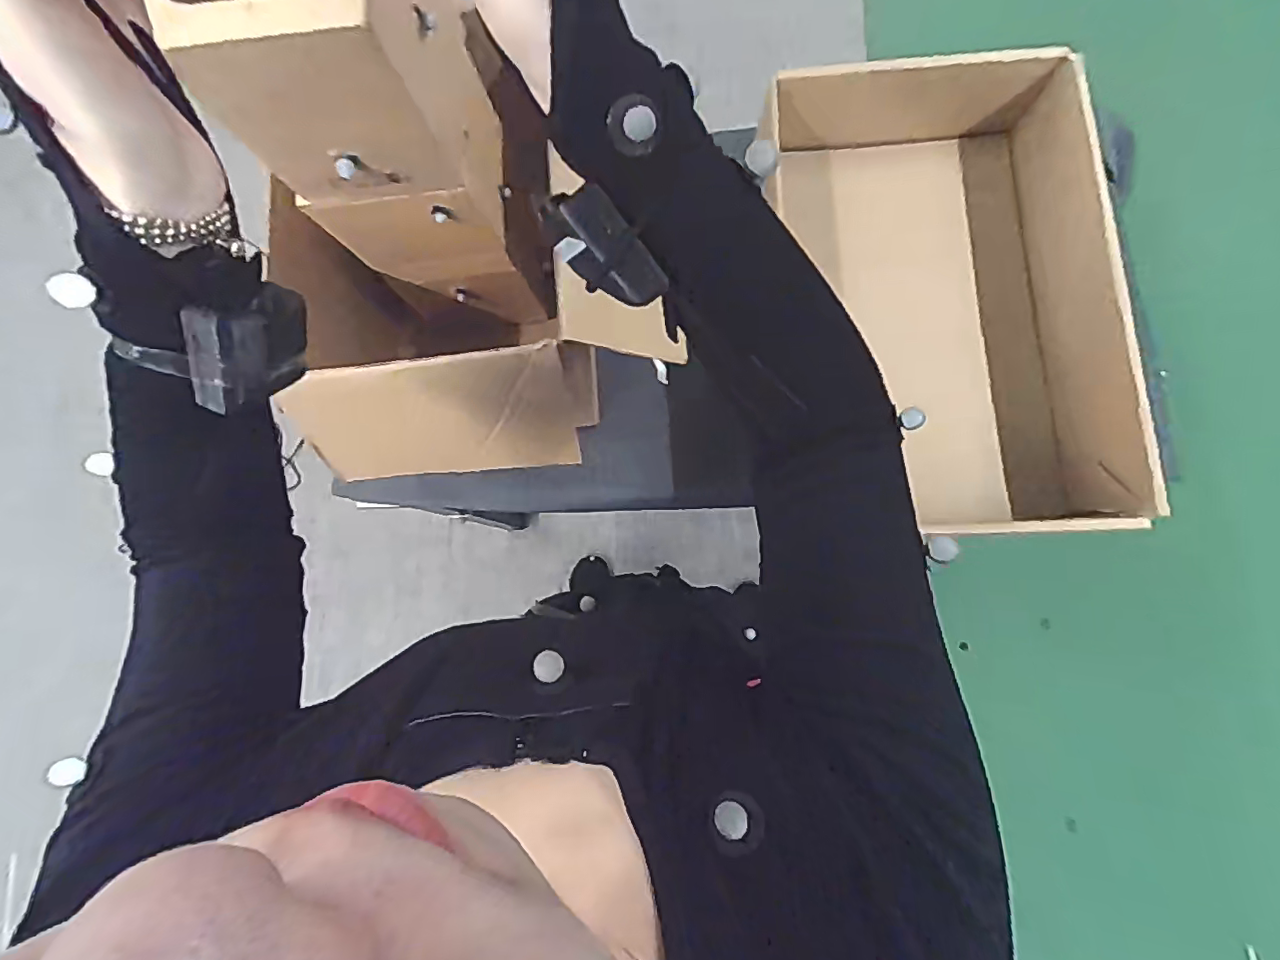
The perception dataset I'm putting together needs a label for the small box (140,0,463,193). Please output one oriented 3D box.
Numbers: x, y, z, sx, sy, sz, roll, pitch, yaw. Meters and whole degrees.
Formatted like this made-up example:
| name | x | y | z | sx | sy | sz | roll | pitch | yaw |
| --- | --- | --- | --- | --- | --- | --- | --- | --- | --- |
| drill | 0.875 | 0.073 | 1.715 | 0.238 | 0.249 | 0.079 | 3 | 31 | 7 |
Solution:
| name | x | y | z | sx | sy | sz | roll | pitch | yaw |
| --- | --- | --- | --- | --- | --- | --- | --- | --- | --- |
| small box | -0.260 | -0.378 | 0.456 | 0.168 | 0.176 | 0.179 | -3 | 85 | 4 |
